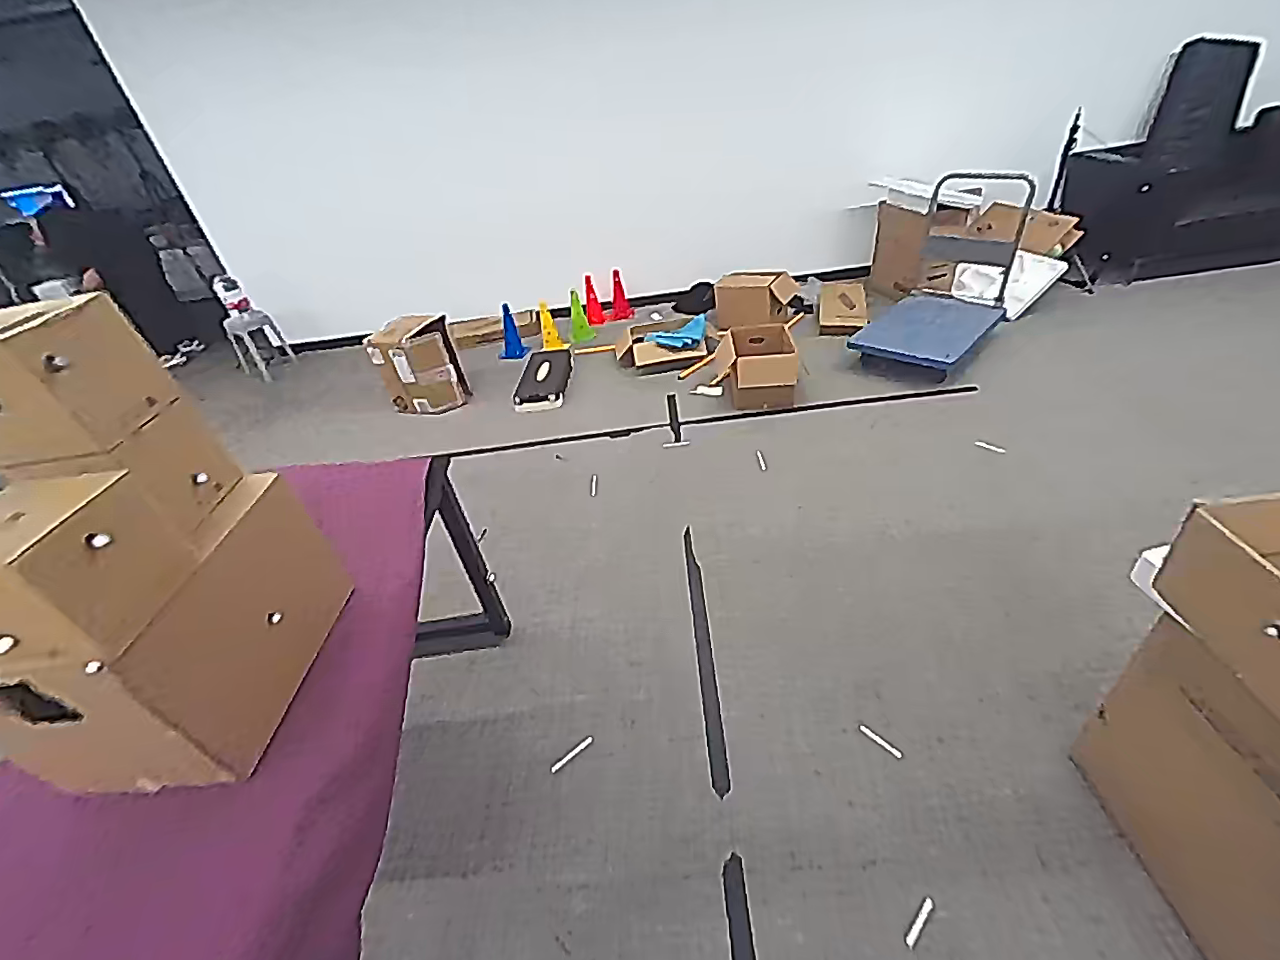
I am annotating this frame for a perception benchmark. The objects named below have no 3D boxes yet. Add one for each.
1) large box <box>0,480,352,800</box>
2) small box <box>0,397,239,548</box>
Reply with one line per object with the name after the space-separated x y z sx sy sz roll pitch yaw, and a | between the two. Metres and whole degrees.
-0.767 0.253 0.912 0.320 0.320 0.408 -8 37 4 | large box
-0.802 -0.009 0.856 0.179 0.176 0.168 -7 38 4 | small box
